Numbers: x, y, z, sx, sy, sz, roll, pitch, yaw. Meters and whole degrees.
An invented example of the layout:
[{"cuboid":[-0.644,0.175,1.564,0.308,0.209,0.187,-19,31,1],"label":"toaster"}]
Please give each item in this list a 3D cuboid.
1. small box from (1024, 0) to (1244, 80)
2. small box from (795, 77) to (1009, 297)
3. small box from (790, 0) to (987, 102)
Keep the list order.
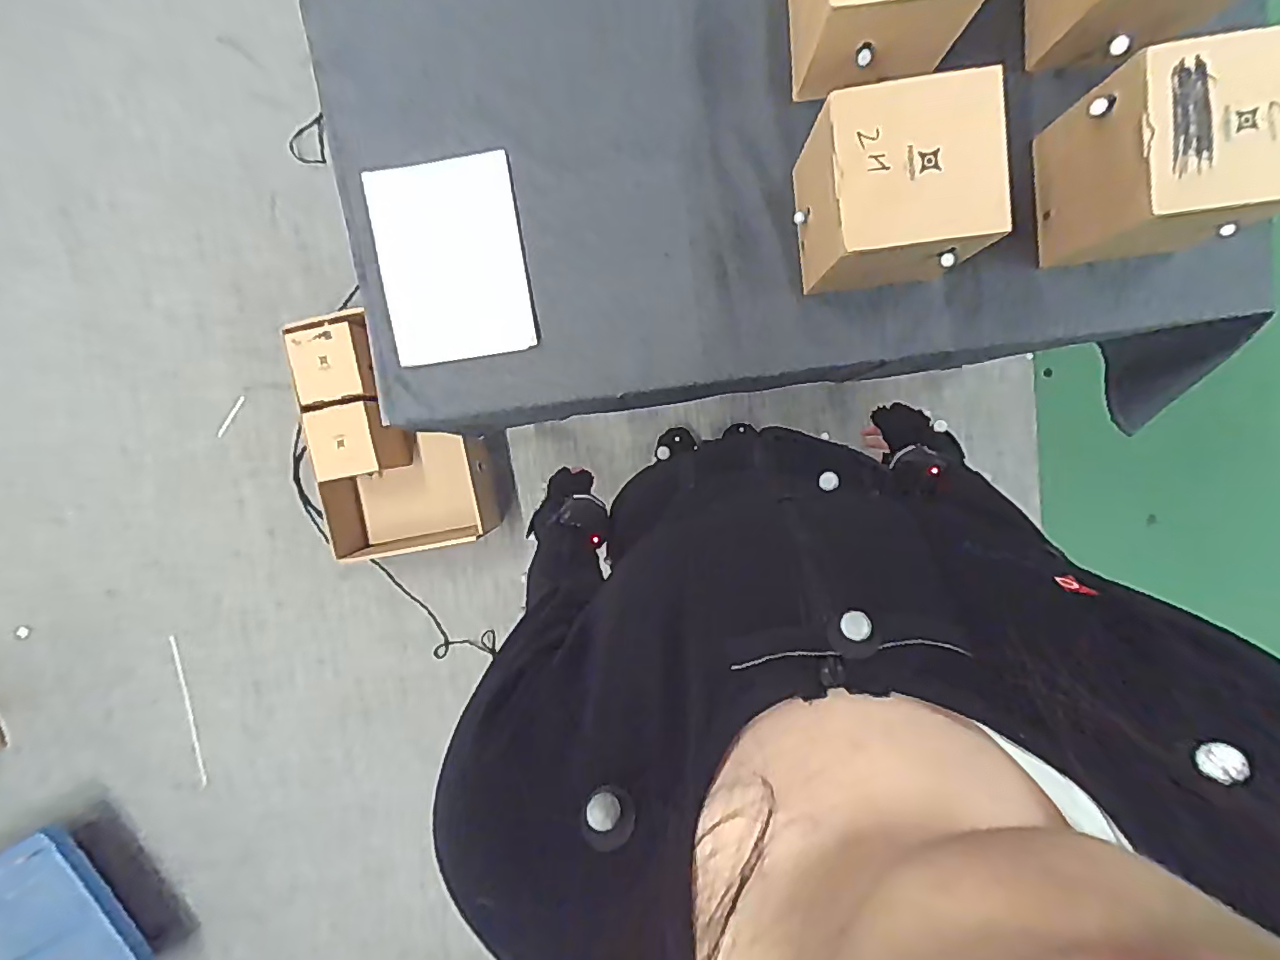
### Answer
[{"cuboid":[0.562,-0.595,0.602,0.168,0.176,0.179,-4,95,4],"label":"small box"},{"cuboid":[0.294,-0.327,0.639,0.179,0.176,0.168,-6,93,4],"label":"small box"},{"cuboid":[0.274,-0.571,0.624,0.168,0.176,0.179,-3,94,4],"label":"small box"}]
